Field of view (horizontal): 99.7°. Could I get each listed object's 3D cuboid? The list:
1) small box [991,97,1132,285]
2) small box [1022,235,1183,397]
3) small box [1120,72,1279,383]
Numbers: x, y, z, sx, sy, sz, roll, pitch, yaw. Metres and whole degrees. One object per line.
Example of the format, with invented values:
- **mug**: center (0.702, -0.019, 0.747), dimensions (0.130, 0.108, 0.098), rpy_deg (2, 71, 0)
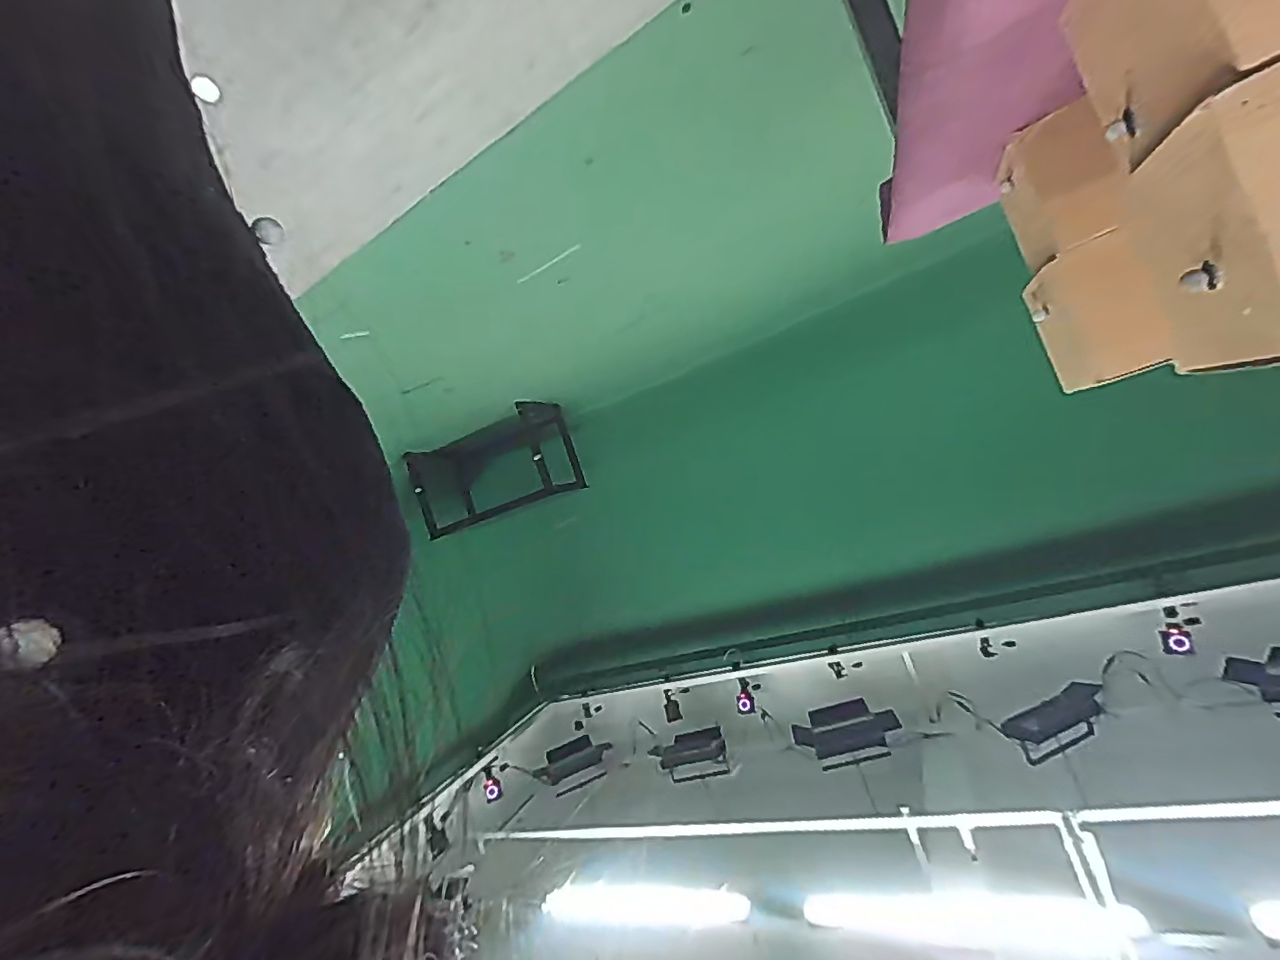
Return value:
- **small box**: center (0.585, -0.378, 0.688), dimensions (0.179, 0.176, 0.168), rpy_deg (-22, 175, 27)
- **small box**: center (0.637, -0.221, 0.698), dimensions (0.179, 0.176, 0.168), rpy_deg (-21, 175, 27)
- **small box**: center (0.465, -0.180, 0.354), dimensions (0.168, 0.176, 0.179), rpy_deg (-21, 176, 26)
